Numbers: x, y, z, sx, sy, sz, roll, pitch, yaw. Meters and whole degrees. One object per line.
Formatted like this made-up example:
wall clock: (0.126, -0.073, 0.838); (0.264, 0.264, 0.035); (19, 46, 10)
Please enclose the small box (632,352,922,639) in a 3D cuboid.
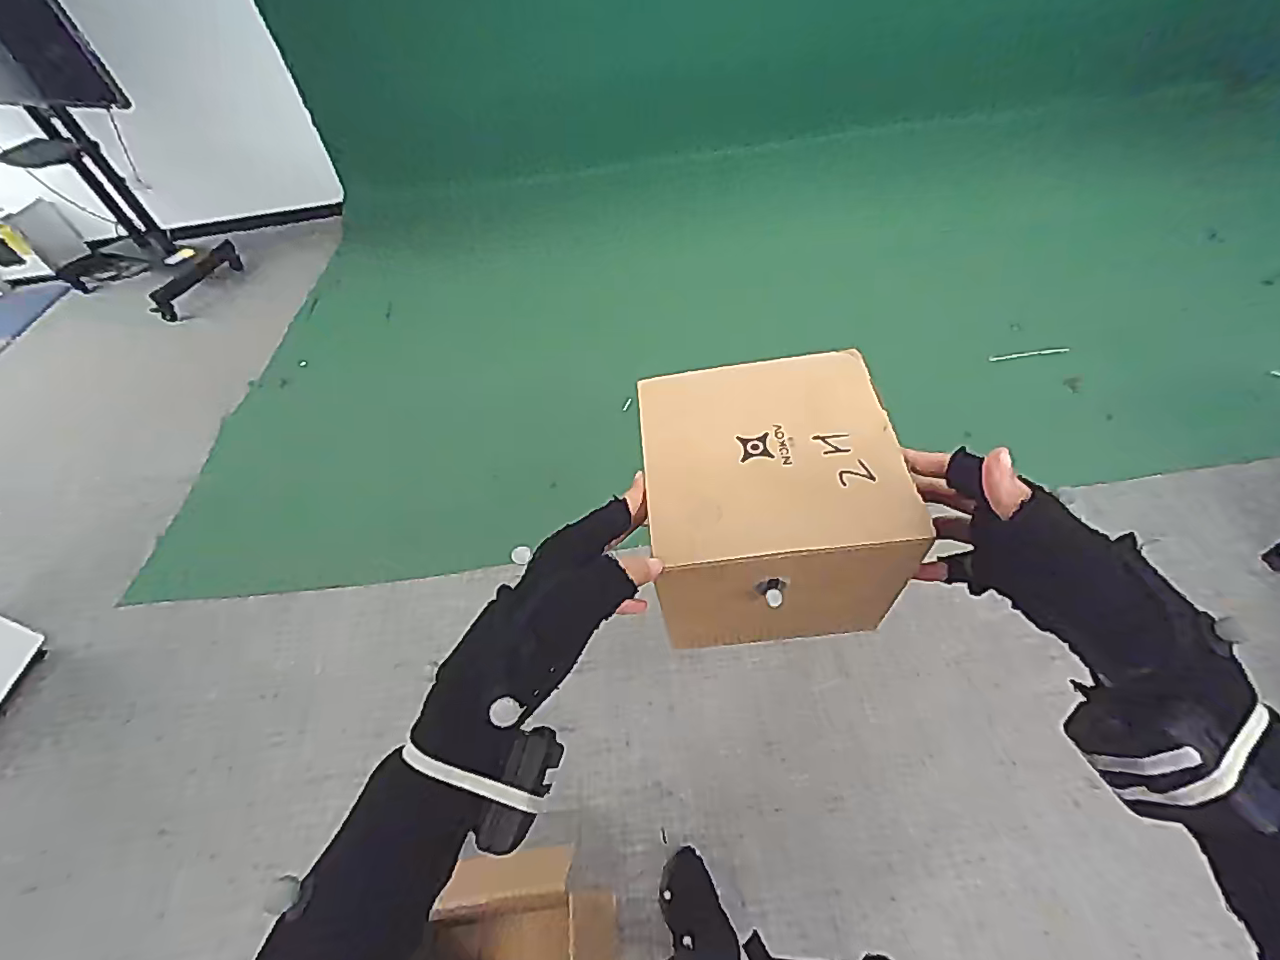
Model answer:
small box: (0.094, 0.022, 0.445); (0.179, 0.176, 0.168); (-6, 56, 4)
